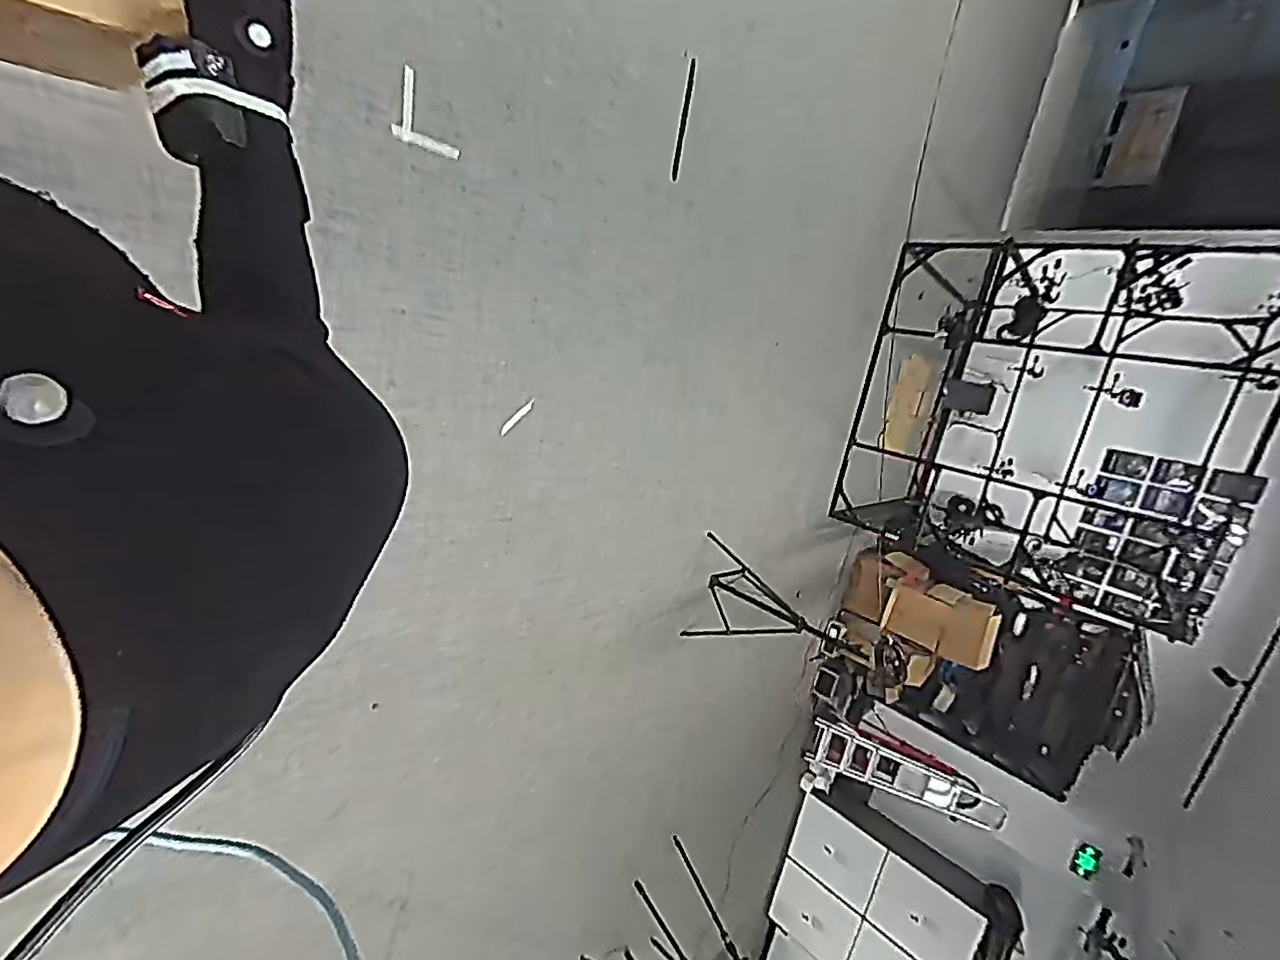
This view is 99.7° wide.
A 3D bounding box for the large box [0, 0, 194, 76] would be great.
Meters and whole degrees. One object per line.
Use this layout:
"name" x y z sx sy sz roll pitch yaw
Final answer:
"large box" -0.549 -0.477 0.285 0.408 0.320 0.320 -16 121 -47
